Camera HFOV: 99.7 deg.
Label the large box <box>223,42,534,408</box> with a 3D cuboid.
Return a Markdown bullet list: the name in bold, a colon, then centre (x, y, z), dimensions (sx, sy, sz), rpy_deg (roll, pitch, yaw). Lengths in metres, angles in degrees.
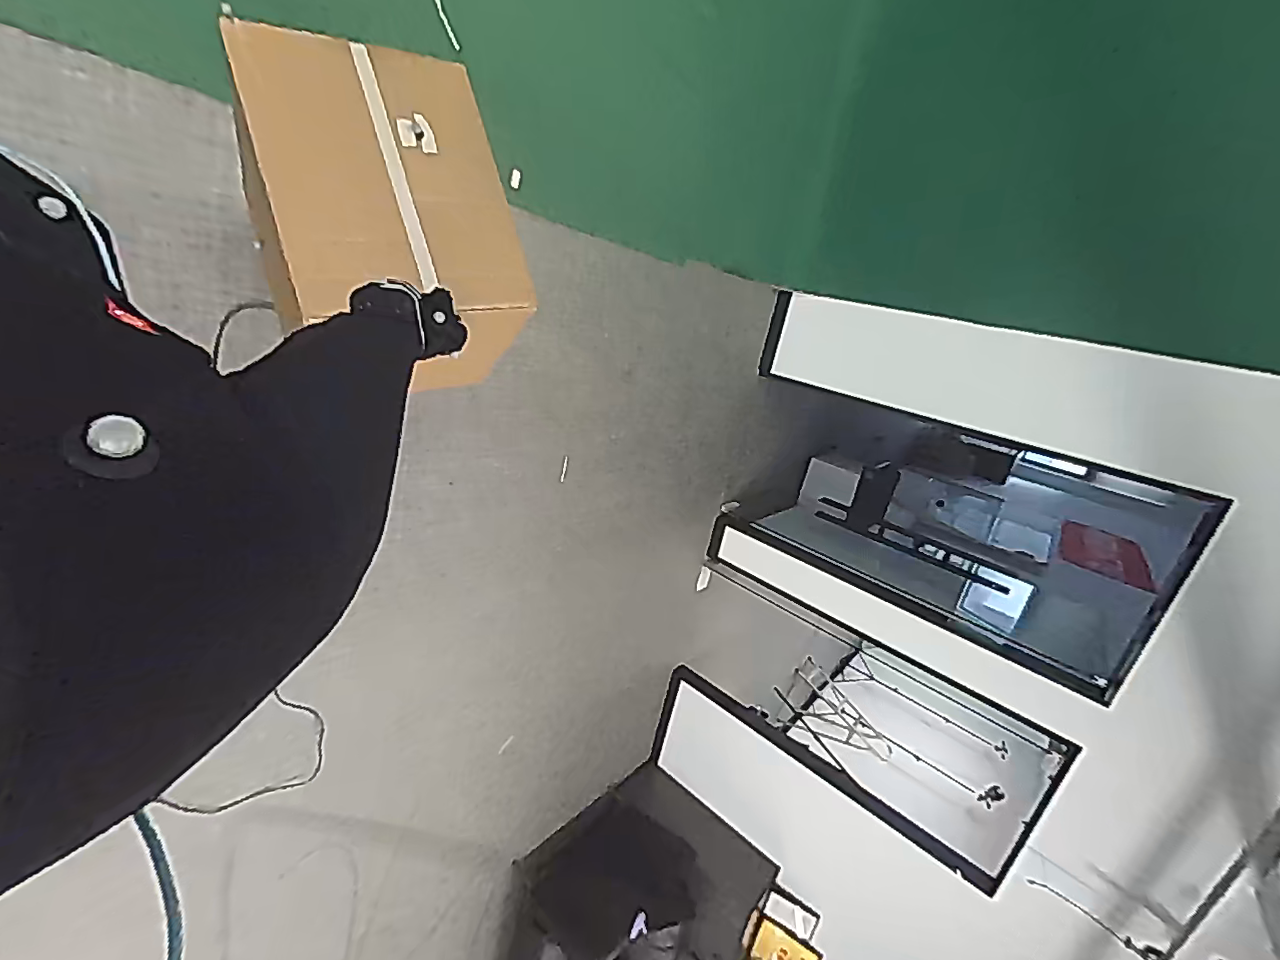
- **large box**: centre (-0.421, -0.376, 0.883), dimensions (0.320, 0.320, 0.408), rpy_deg (-15, 84, -34)
